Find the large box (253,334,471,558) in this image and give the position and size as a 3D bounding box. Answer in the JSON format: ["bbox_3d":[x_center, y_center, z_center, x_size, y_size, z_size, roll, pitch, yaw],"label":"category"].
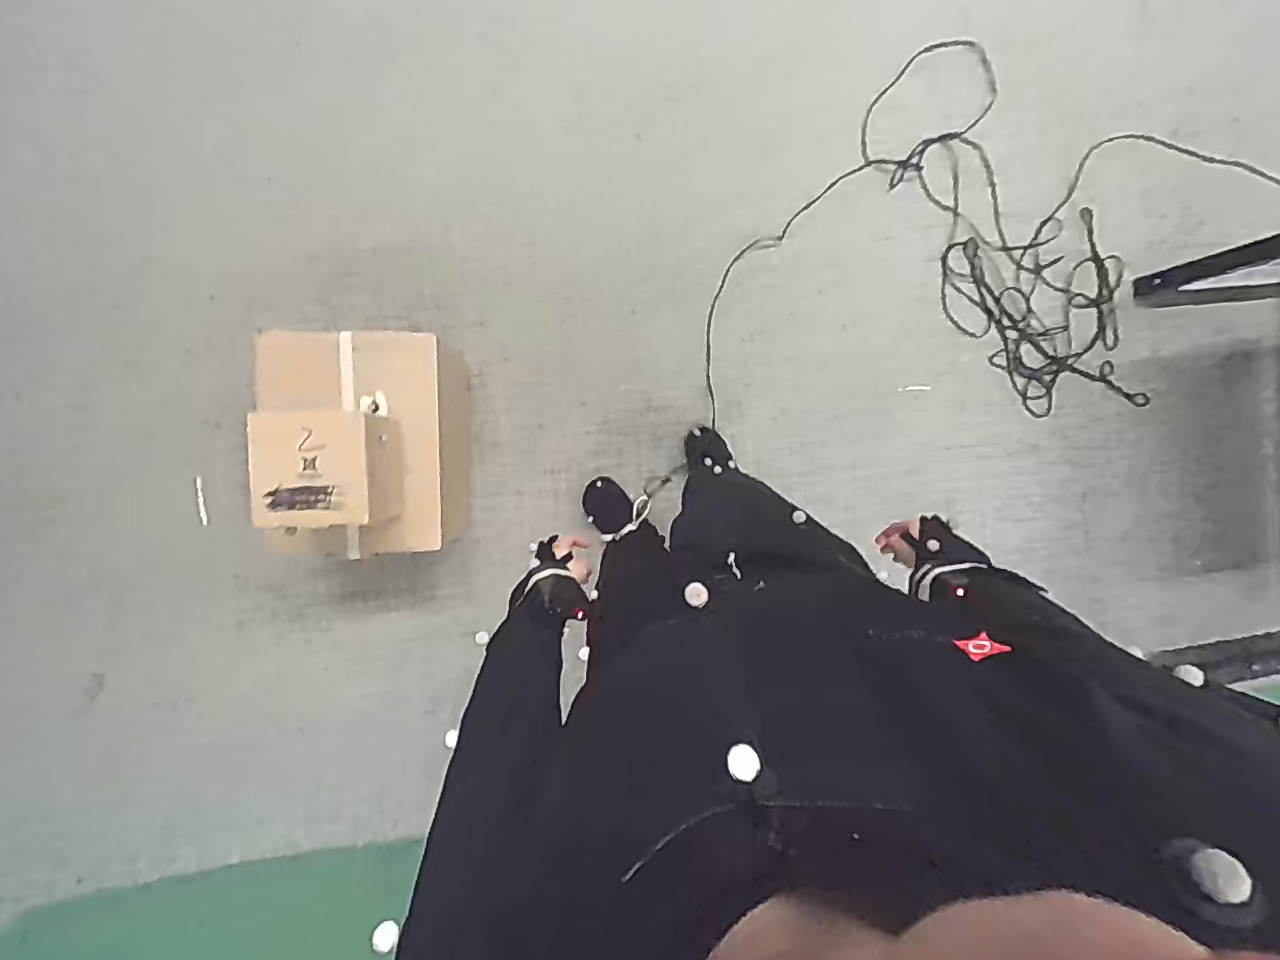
[{"bbox_3d":[-0.544,-0.066,1.125,0.320,0.320,0.408,-1,91,-8],"label":"large box"}]
